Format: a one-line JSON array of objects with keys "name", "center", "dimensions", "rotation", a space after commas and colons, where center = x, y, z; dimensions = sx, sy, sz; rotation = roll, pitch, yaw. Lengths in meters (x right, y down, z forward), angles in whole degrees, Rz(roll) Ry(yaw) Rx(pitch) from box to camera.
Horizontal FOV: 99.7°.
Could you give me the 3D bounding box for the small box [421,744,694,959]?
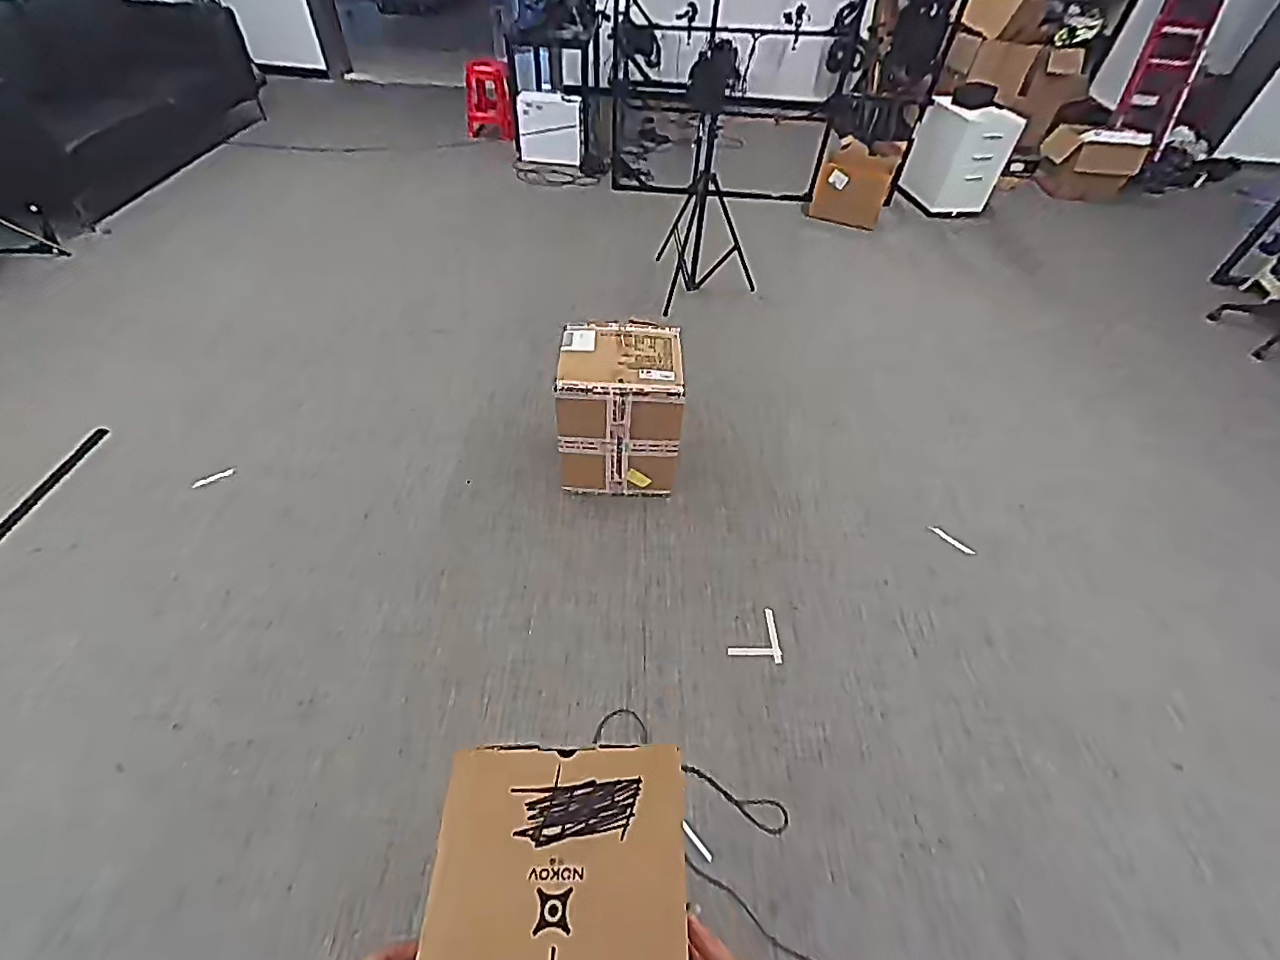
[{"name": "small box", "center": [-0.048, 0.314, 0.403], "dimensions": [0.168, 0.176, 0.179], "rotation": [-1, 50, 1]}]
